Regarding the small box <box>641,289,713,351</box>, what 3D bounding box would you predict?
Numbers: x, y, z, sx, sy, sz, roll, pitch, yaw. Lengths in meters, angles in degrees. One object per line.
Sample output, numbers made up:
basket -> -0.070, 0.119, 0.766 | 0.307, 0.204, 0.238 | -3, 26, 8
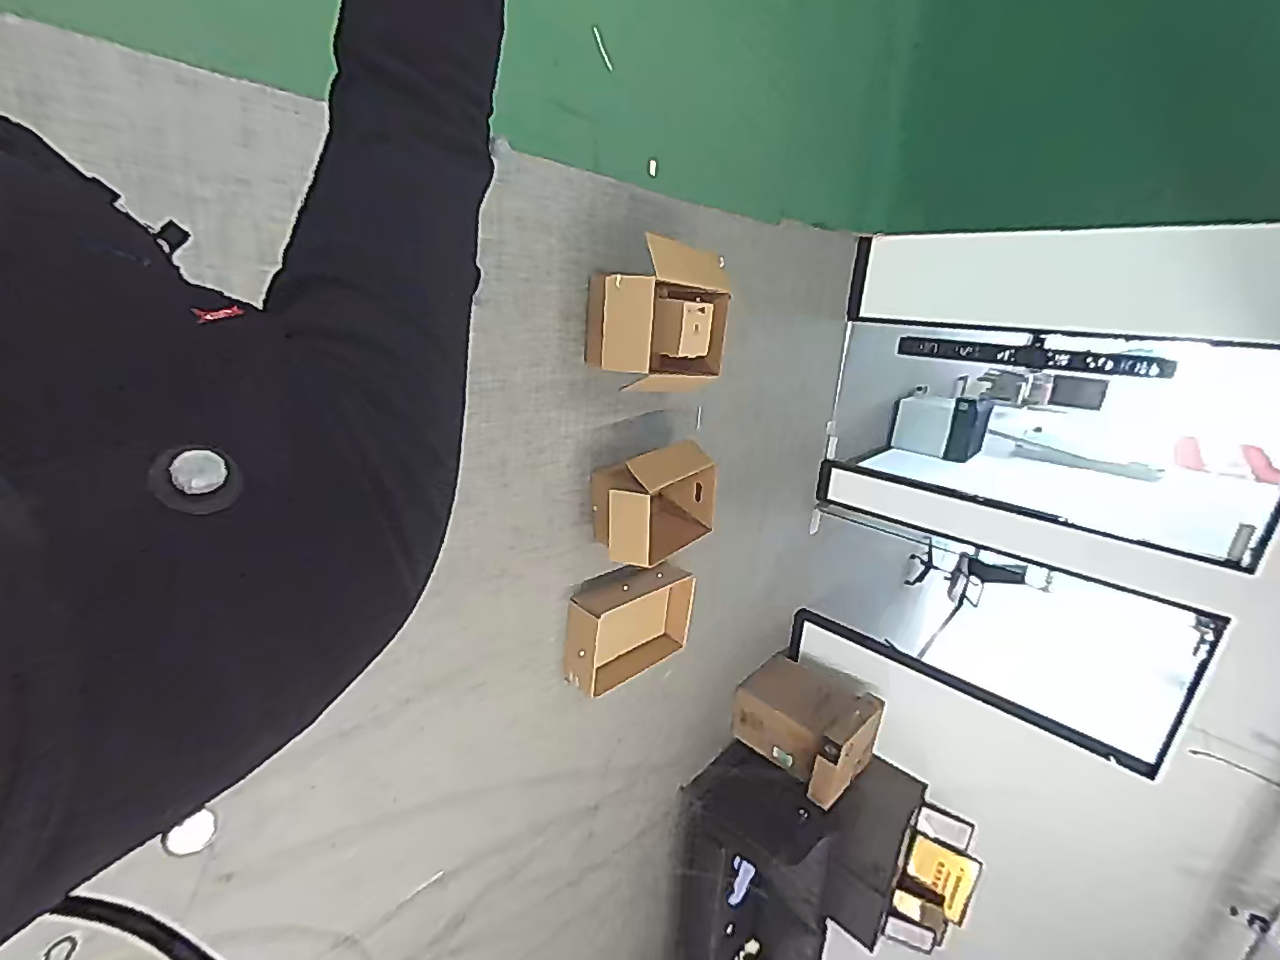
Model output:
small box -> 0.121, -0.541, 1.835 | 0.168, 0.176, 0.179 | -16, 121, -47
